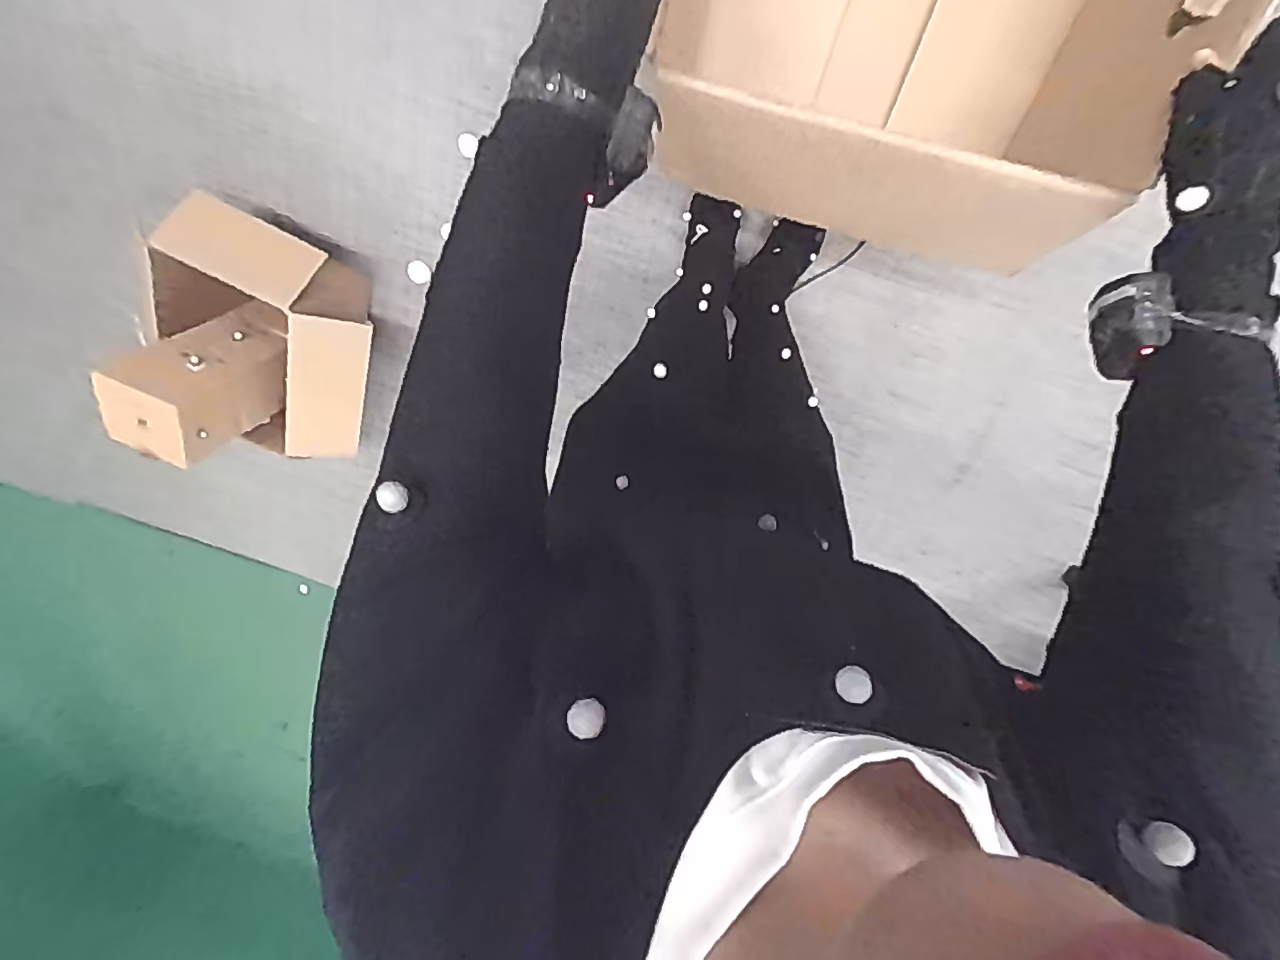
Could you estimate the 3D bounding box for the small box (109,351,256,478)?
[{"bbox_3d":[-0.959,-0.143,1.156,0.168,0.176,0.179,23,127,-6],"label":"small box"}]
